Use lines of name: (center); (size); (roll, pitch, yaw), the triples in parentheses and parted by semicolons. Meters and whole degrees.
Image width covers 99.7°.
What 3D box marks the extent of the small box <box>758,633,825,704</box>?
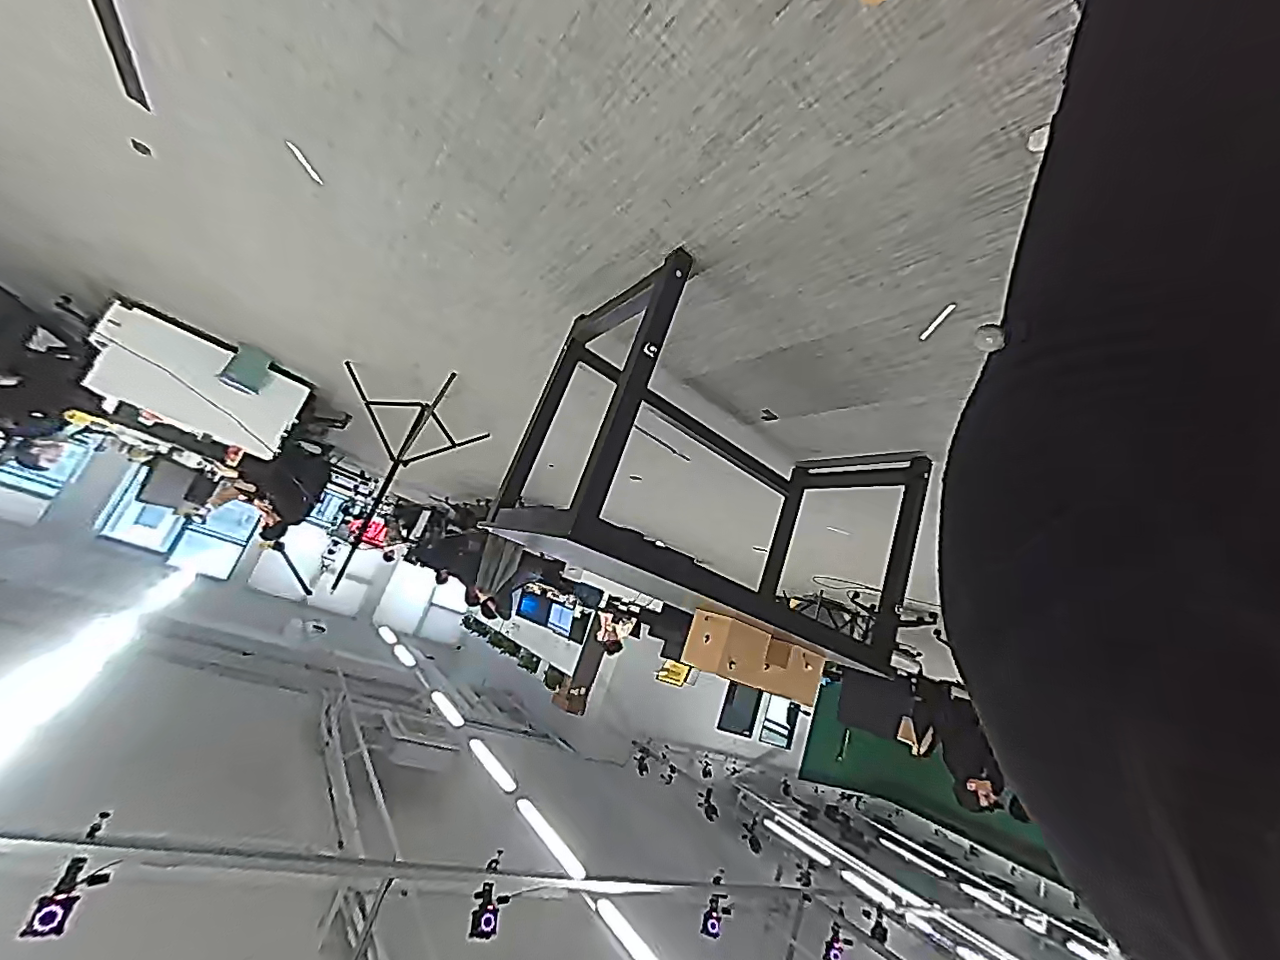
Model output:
small box: (0.474, 0.605, 1.769); (0.168, 0.176, 0.179); (27, 163, -27)

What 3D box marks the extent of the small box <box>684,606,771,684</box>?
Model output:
small box: (0.267, 0.496, 1.640); (0.179, 0.176, 0.168); (28, 164, -29)
